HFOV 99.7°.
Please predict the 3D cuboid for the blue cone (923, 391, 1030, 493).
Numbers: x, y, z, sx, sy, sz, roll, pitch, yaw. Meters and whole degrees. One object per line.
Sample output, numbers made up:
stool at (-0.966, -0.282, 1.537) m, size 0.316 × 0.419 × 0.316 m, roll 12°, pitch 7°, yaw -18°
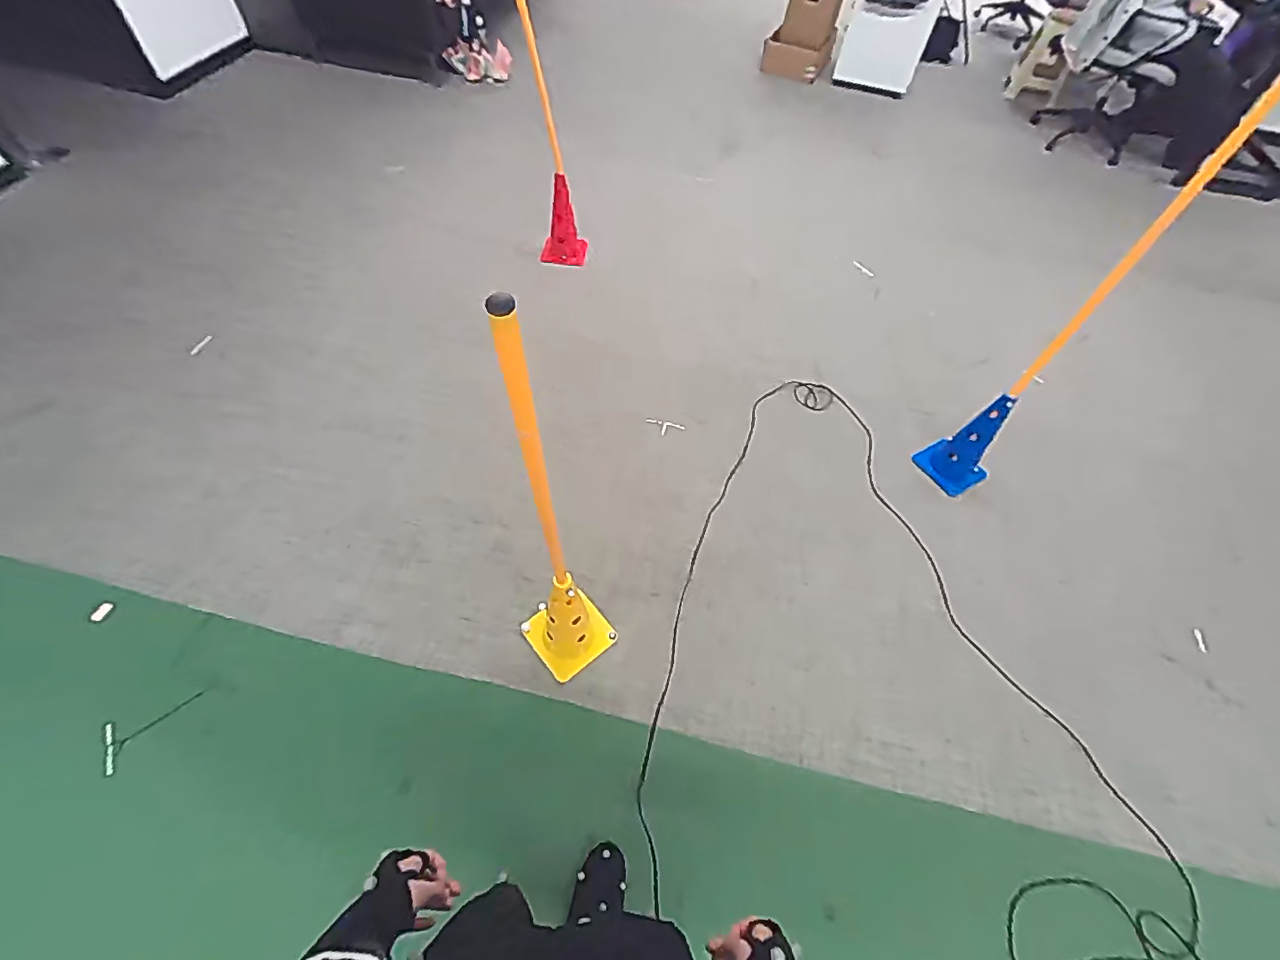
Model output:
blue cone at (1.118, -0.150, 1.760) m, size 0.193 × 0.380 × 0.192 m, roll -25°, pitch 60°, yaw -23°
